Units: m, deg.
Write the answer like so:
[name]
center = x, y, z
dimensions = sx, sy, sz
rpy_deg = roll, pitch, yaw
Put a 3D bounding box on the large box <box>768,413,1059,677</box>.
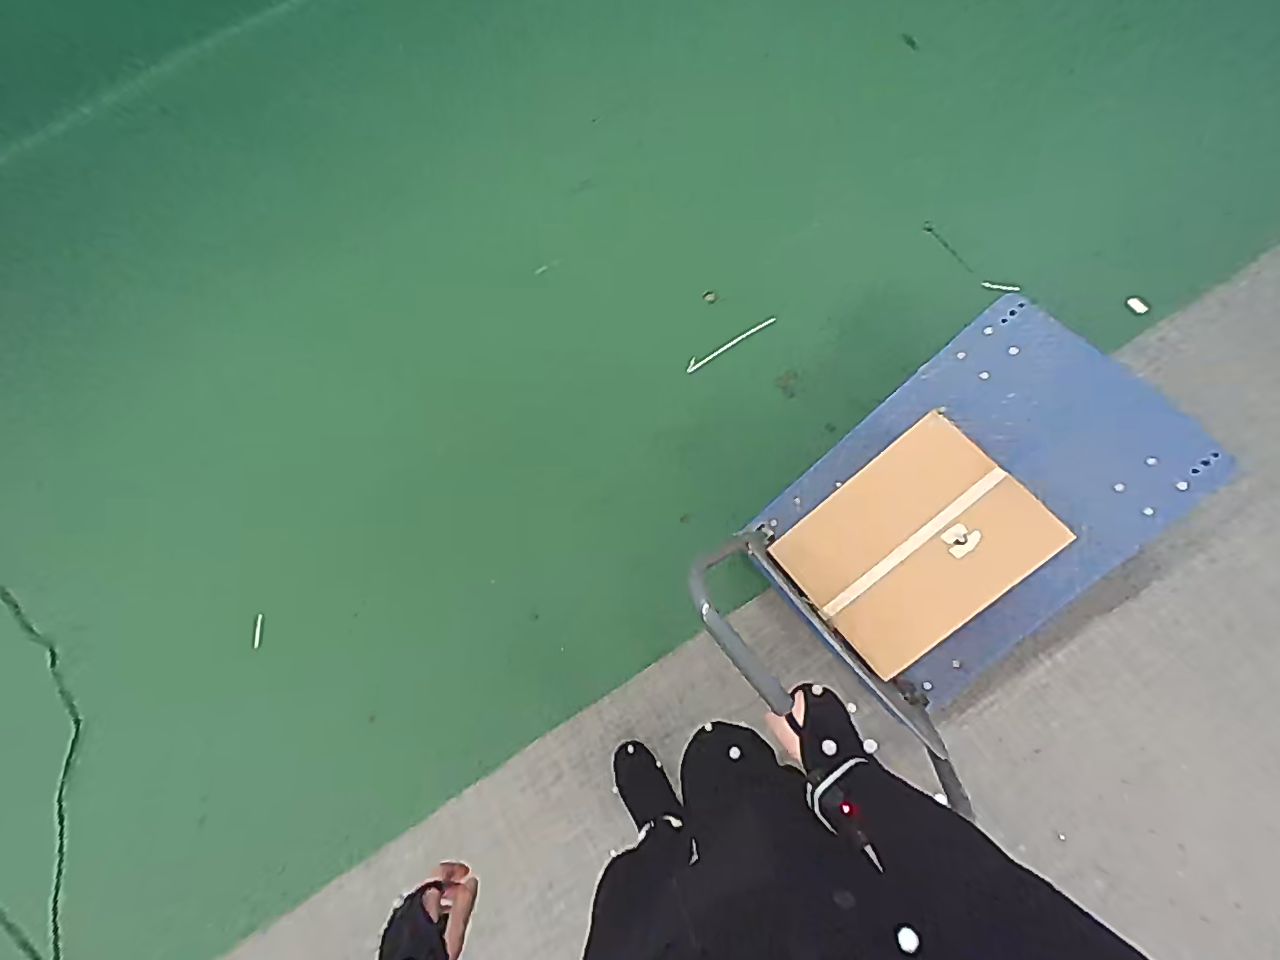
[large box]
center = 0.526, 0.137, 1.133
dimensions = 0.408, 0.320, 0.320
rpy_deg = -43, 74, 7
